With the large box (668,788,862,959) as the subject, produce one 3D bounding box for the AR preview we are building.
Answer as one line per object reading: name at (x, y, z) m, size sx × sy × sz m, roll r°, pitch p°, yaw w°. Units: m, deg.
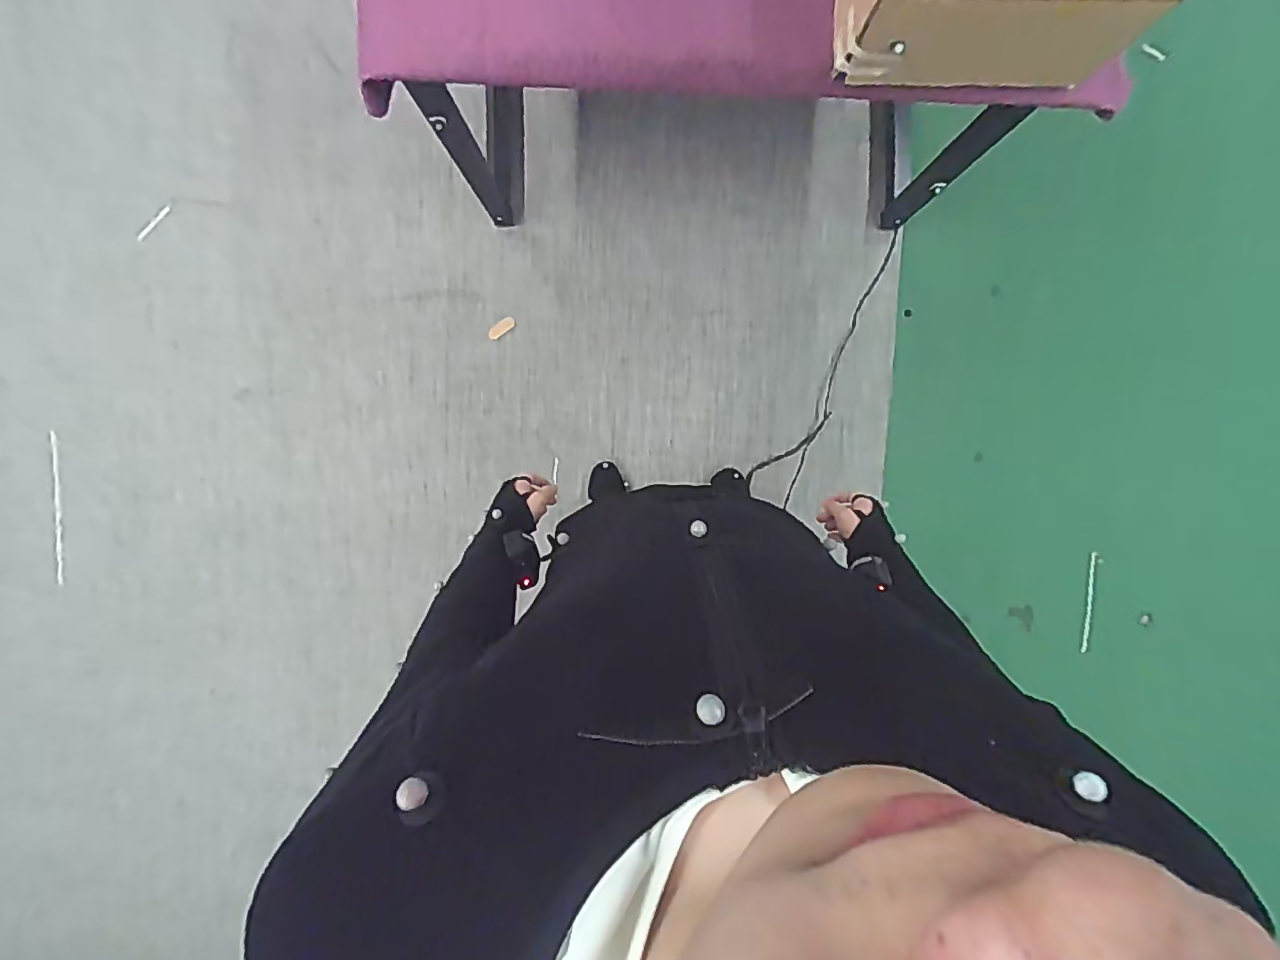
large box at (0.330, 1.189, 1.545) m, size 0.408 × 0.320 × 0.320 m, roll -31°, pitch 94°, yaw 1°
